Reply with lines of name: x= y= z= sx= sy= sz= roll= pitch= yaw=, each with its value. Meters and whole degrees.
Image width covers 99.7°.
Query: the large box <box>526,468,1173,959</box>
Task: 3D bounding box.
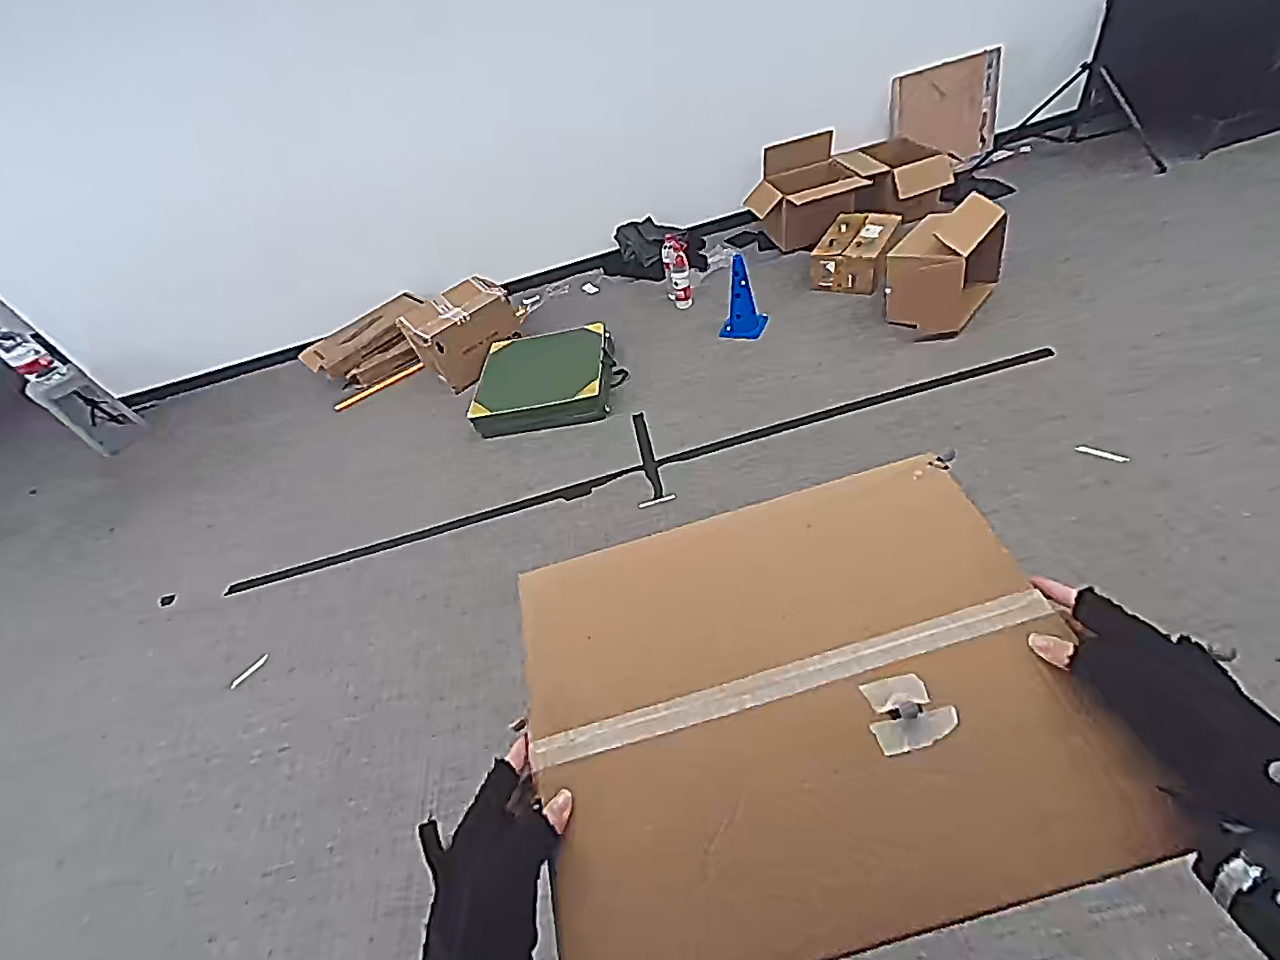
large box: x=0.139 y=0.249 z=0.546 sx=0.408 sy=0.320 sz=0.320 roll=-17 pitch=53 yaw=0
